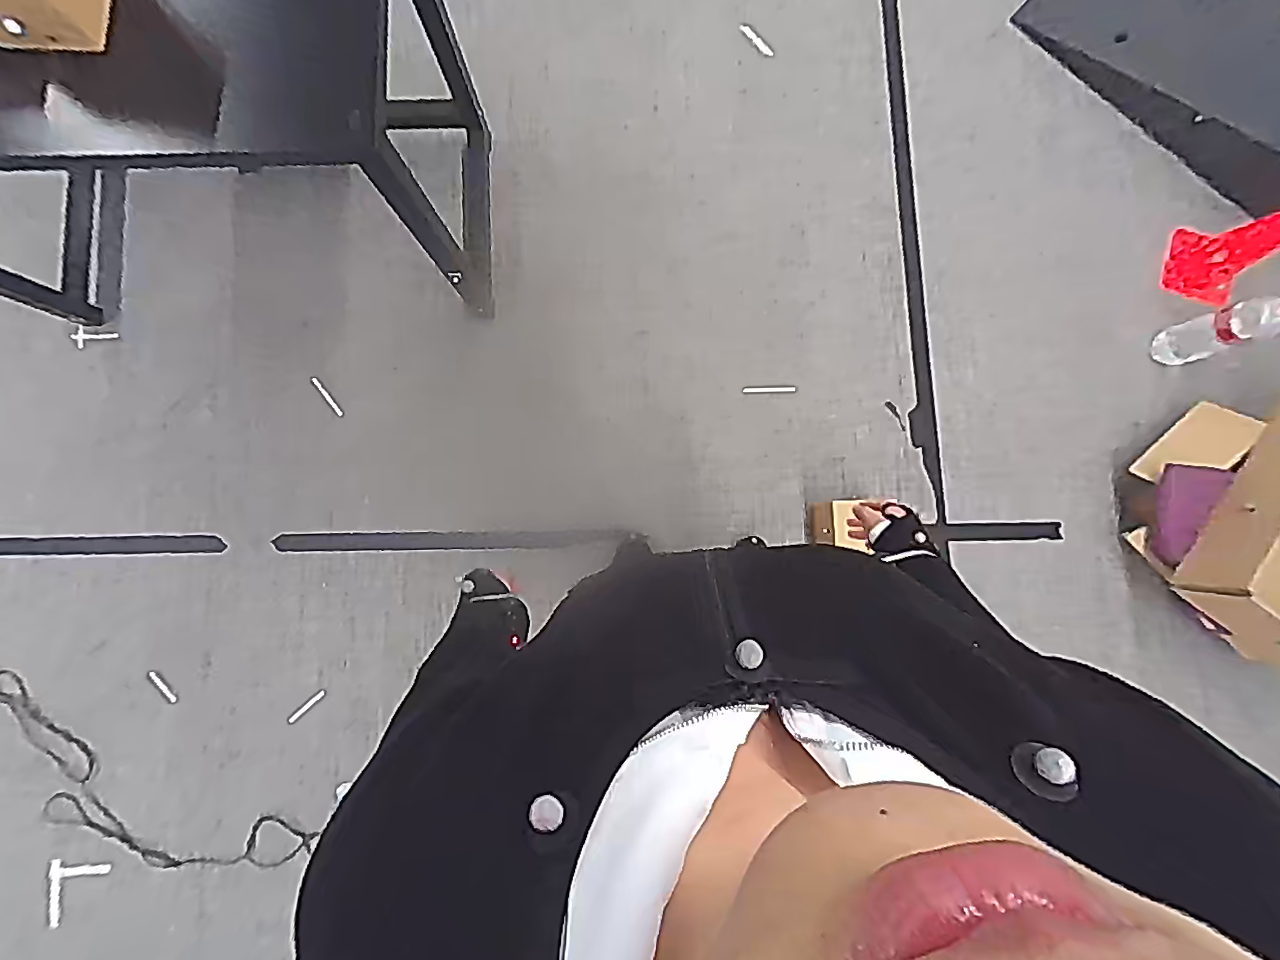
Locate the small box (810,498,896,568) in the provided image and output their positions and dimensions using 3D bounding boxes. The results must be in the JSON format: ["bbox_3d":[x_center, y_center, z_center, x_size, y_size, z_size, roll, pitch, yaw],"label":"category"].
[{"bbox_3d":[0.560,0.141,1.441,0.168,0.176,0.179,-1,85,0],"label":"small box"}]

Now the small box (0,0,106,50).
[{"bbox_3d":[-0.922,-0.774,0.776,0.168,0.176,0.179,3,85,-1],"label":"small box"}]
